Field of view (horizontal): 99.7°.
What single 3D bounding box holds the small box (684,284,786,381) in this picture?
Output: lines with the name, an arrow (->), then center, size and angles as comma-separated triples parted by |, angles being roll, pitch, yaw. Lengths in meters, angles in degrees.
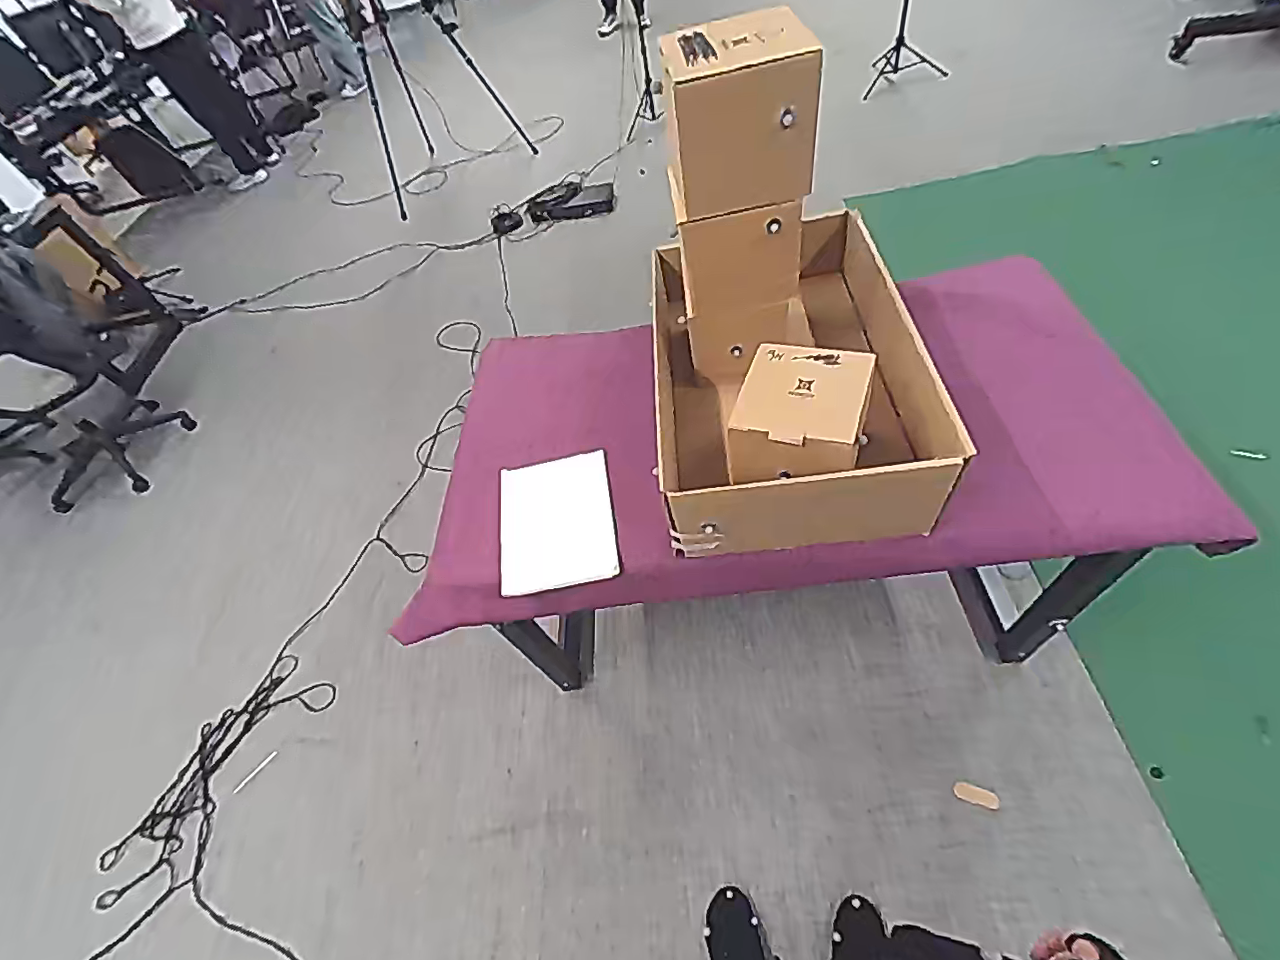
small box -> 0.173, -0.298, 0.989 | 0.168, 0.176, 0.179 | -7, 55, 9

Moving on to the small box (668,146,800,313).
small box -> 0.147, -0.388, 0.857 | 0.179, 0.176, 0.168 | -9, 54, 7
